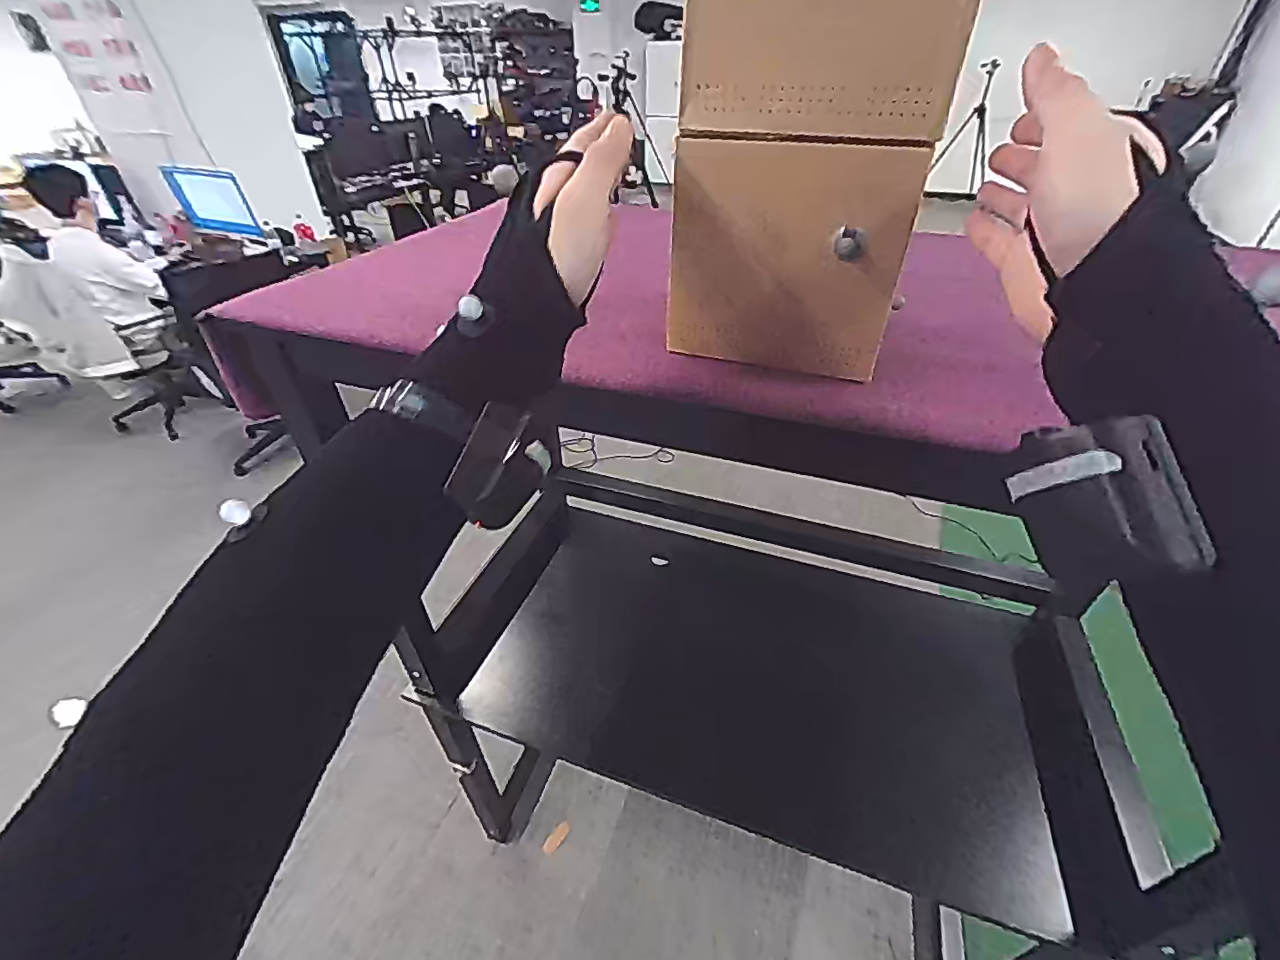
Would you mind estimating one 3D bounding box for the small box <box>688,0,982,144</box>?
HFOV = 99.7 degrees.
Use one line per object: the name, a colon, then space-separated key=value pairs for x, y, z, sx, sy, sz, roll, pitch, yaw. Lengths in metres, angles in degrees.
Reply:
small box: x=0.138 y=-0.336 z=0.373 sx=0.179 sy=0.176 sz=0.168 roll=13 pitch=40 yaw=18
